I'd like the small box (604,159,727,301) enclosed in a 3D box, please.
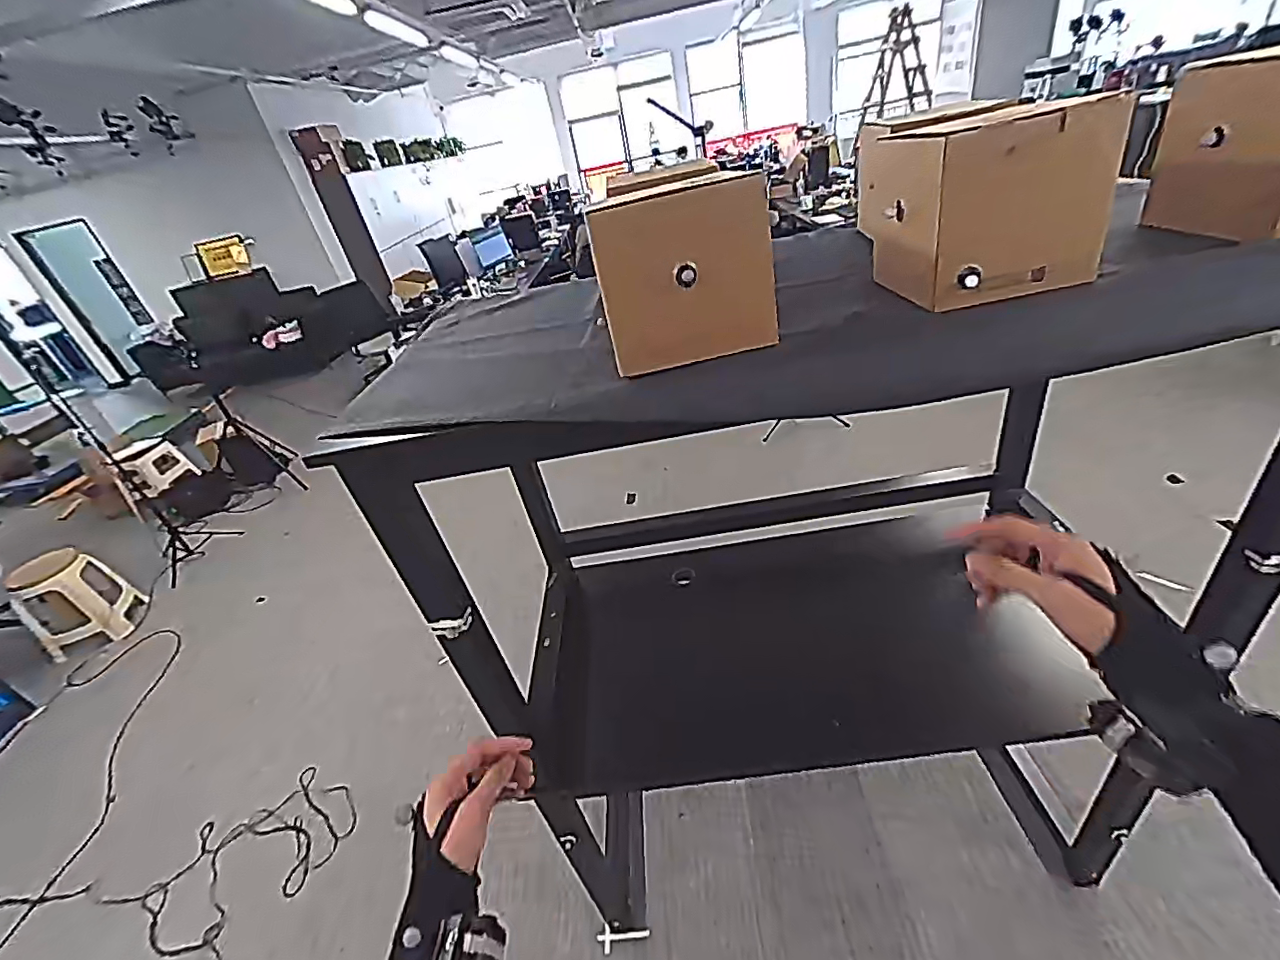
[{"bbox_3d":[0.042,-0.400,0.871,0.168,0.176,0.179,-9,33,4],"label":"small box"}]

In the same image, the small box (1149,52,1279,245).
[{"bbox_3d":[0.708,-0.360,0.574,0.168,0.176,0.179,-11,31,5],"label":"small box"}]

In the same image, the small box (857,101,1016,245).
[{"bbox_3d":[0.447,-0.473,0.847,0.168,0.176,0.179,-6,33,9],"label":"small box"}]

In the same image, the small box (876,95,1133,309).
[{"bbox_3d":[0.374,-0.298,0.597,0.168,0.176,0.179,-10,30,5],"label":"small box"}]
